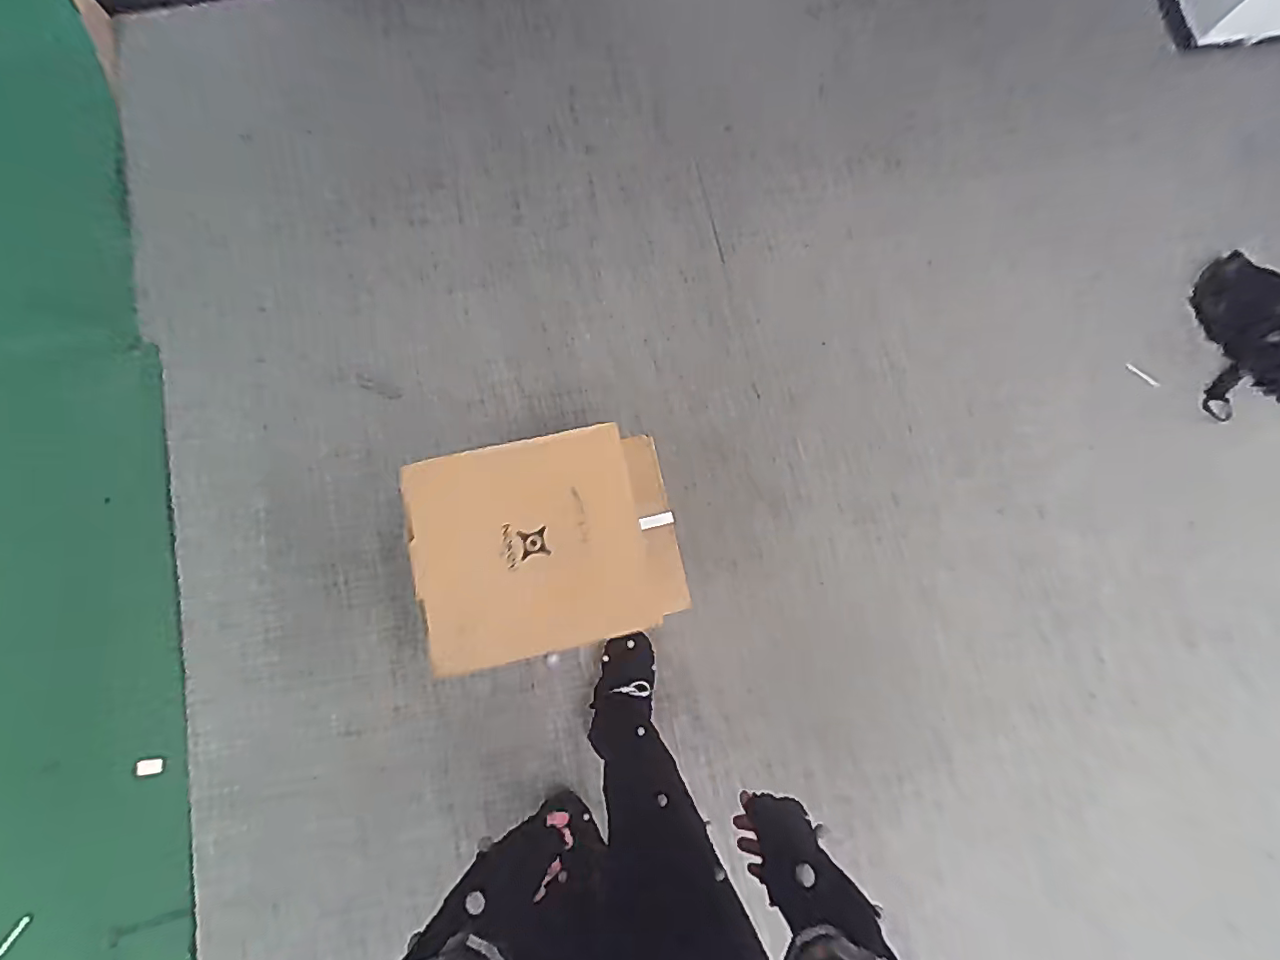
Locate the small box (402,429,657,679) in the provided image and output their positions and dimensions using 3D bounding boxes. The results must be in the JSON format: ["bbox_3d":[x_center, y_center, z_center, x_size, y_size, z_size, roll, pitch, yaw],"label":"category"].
[{"bbox_3d":[-0.090,0.068,0.498,0.179,0.176,0.168,-13,81,-6],"label":"small box"}]
